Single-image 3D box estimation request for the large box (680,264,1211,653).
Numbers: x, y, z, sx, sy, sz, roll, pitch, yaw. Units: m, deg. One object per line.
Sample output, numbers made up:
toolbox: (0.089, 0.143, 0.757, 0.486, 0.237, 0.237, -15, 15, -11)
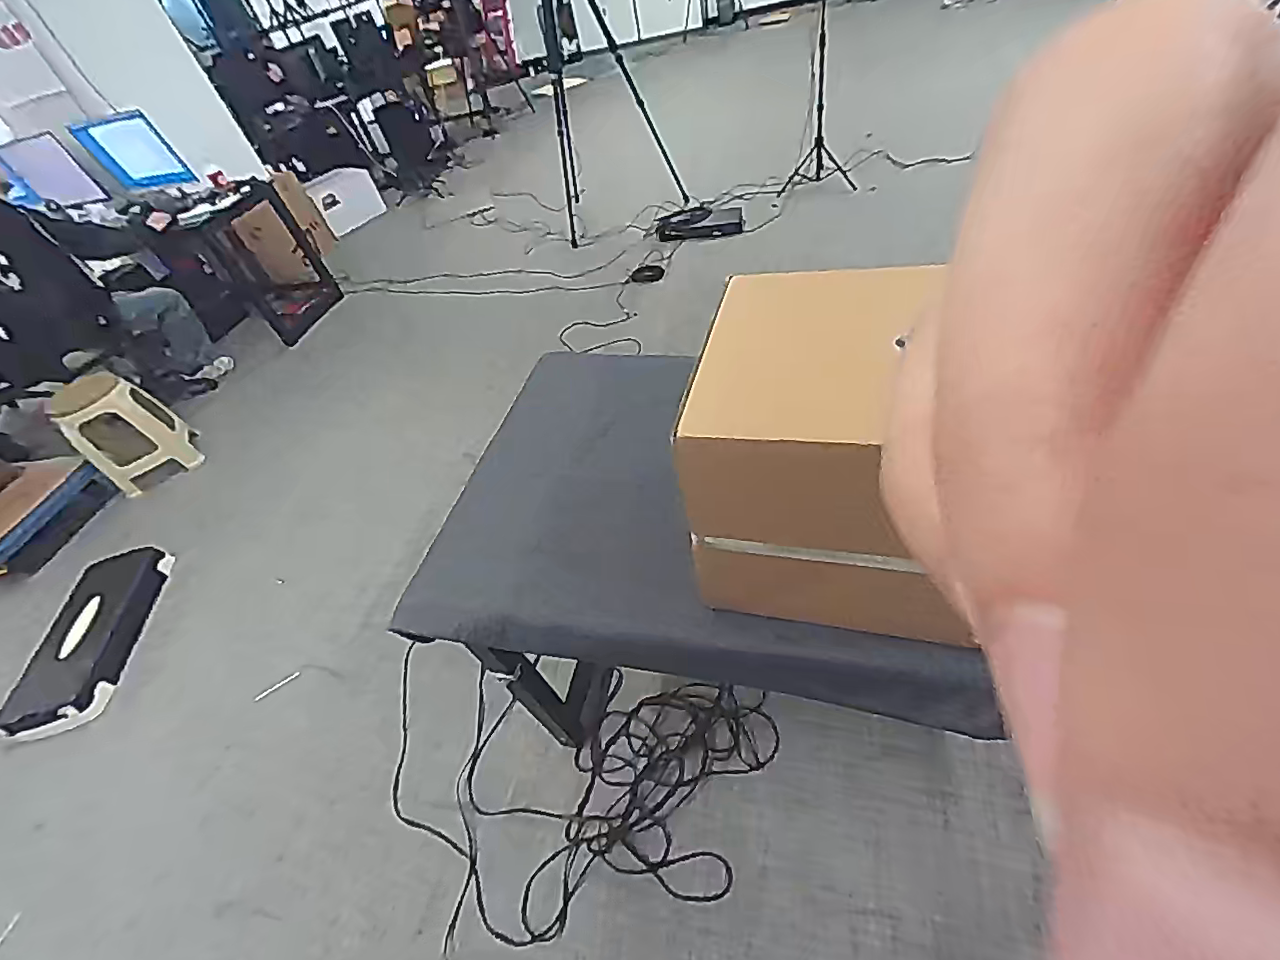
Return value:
large box: (0.289, -0.029, 0.642, 0.408, 0.320, 0.320, 4, 48, 18)
